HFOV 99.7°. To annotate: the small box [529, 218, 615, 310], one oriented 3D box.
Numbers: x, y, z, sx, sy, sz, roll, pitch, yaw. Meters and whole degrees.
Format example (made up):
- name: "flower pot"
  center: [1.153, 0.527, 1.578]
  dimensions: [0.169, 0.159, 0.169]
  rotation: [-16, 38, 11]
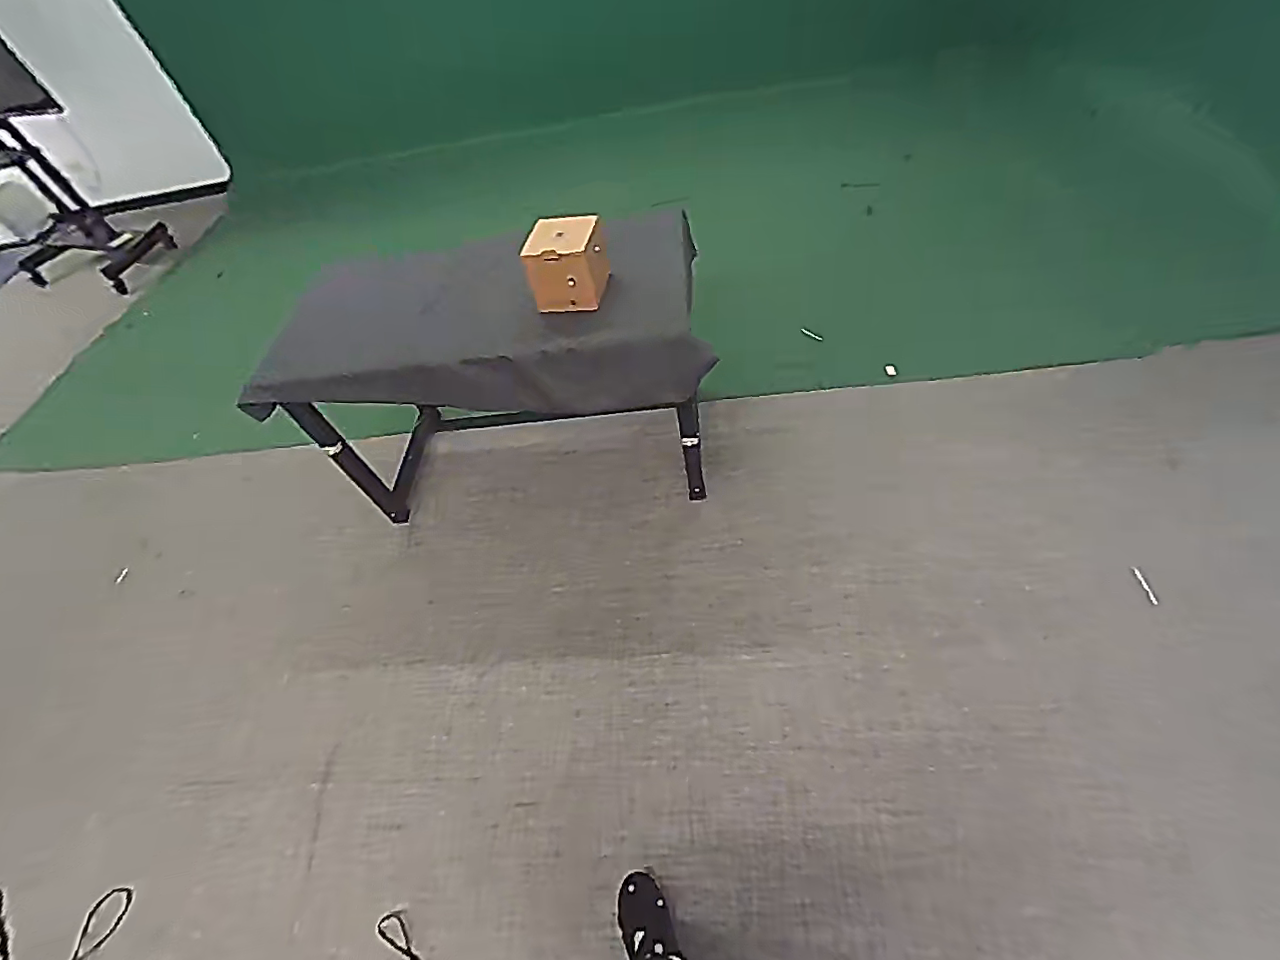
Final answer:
- name: "small box"
  center: [-0.172, -0.569, 1.436]
  dimensions: [0.168, 0.176, 0.179]
  rotation: [4, 52, 12]
